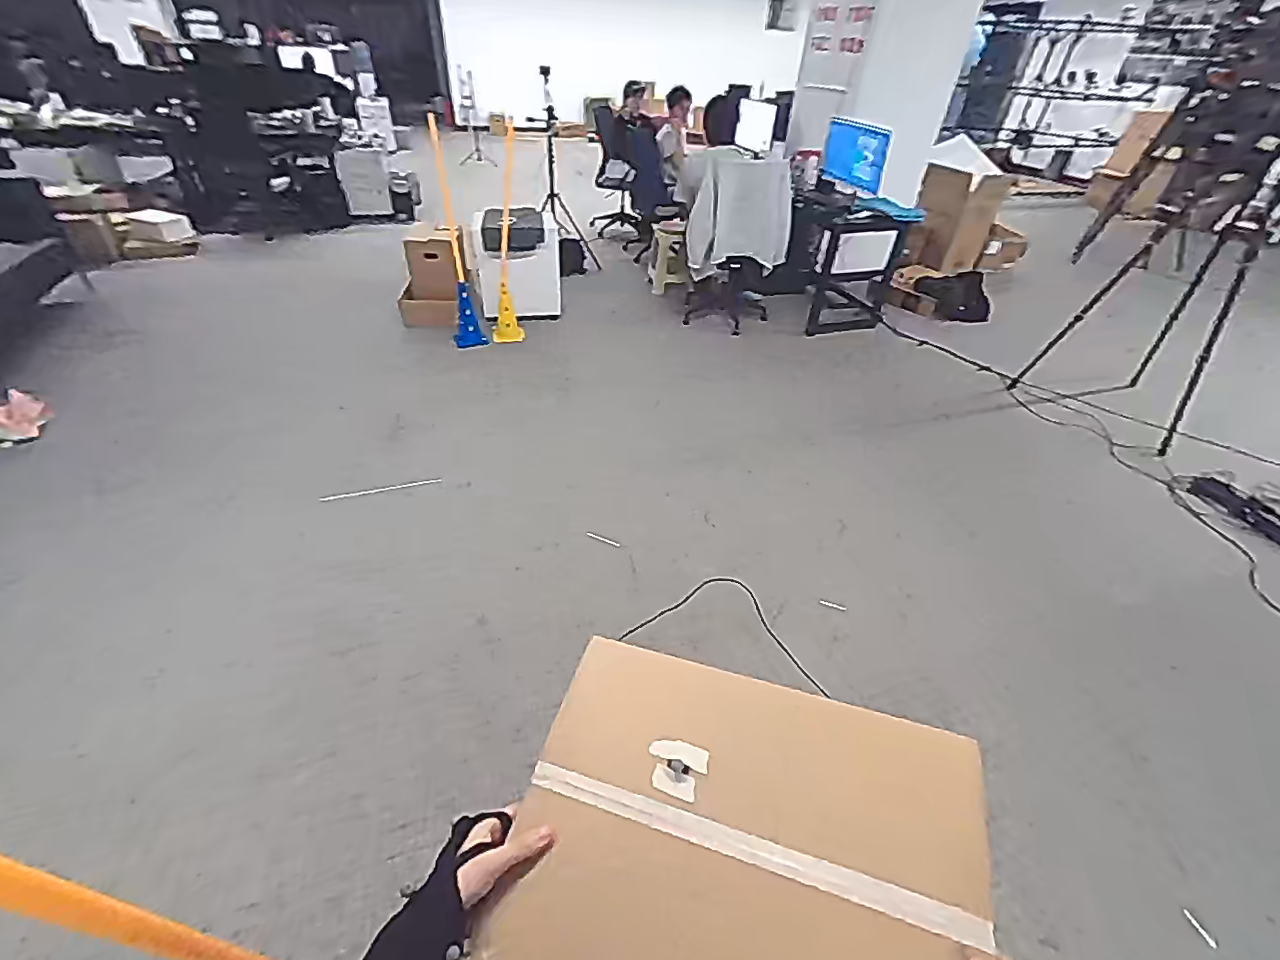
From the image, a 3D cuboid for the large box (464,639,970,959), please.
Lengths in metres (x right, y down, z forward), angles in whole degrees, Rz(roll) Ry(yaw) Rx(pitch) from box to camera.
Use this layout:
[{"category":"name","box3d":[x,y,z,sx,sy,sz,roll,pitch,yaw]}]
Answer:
[{"category":"large box","box3d":[0.100,0.428,0.605,0.408,0.320,0.320,9,49,18]}]
